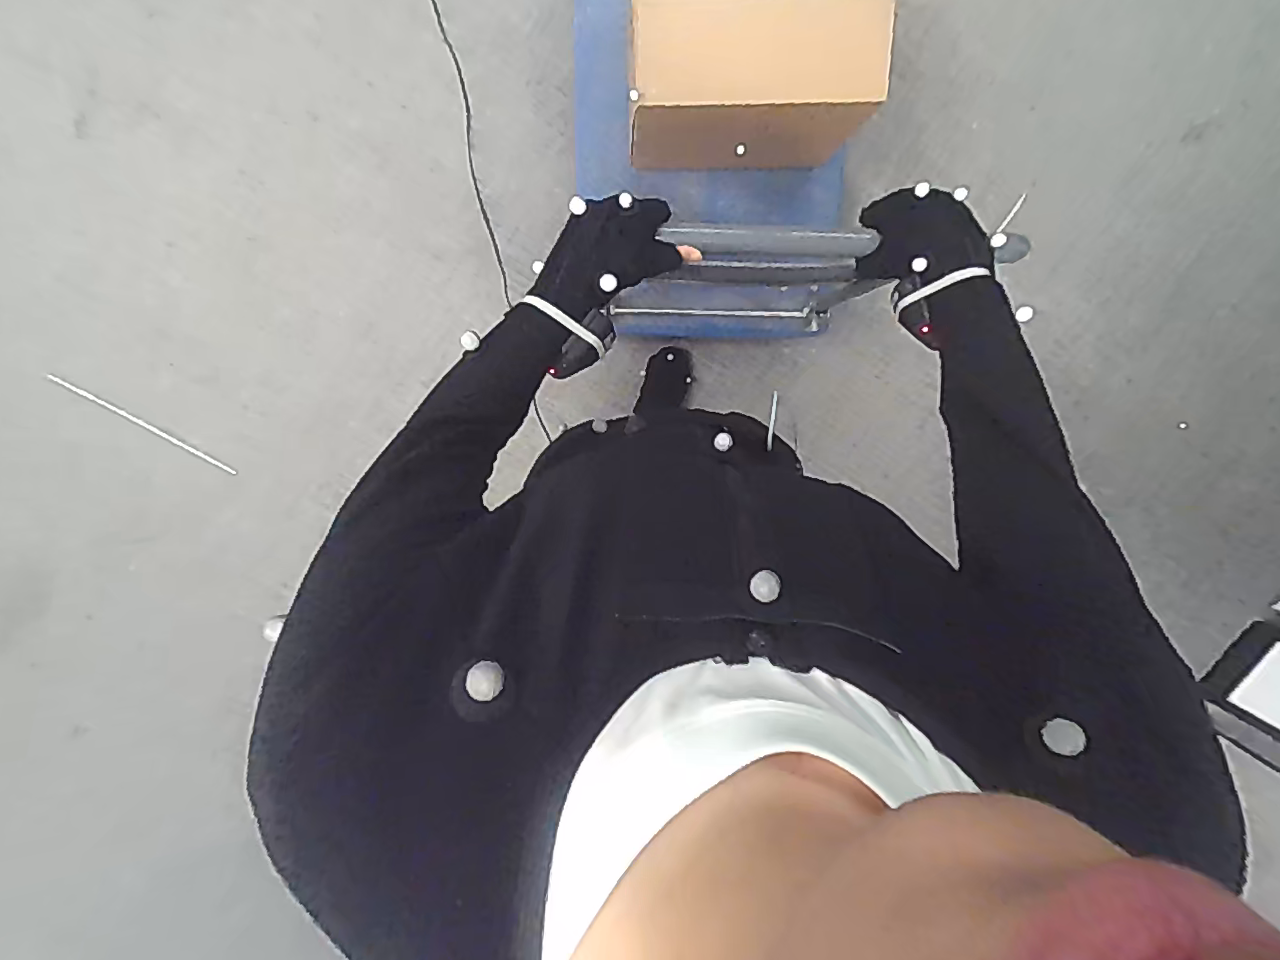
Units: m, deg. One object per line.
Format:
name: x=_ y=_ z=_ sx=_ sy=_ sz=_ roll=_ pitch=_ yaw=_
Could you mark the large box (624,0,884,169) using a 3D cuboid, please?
large box: x=0.180 y=-0.785 z=0.980 sx=0.408 sy=0.320 sz=0.320 roll=-3 pitch=102 yaw=-2
